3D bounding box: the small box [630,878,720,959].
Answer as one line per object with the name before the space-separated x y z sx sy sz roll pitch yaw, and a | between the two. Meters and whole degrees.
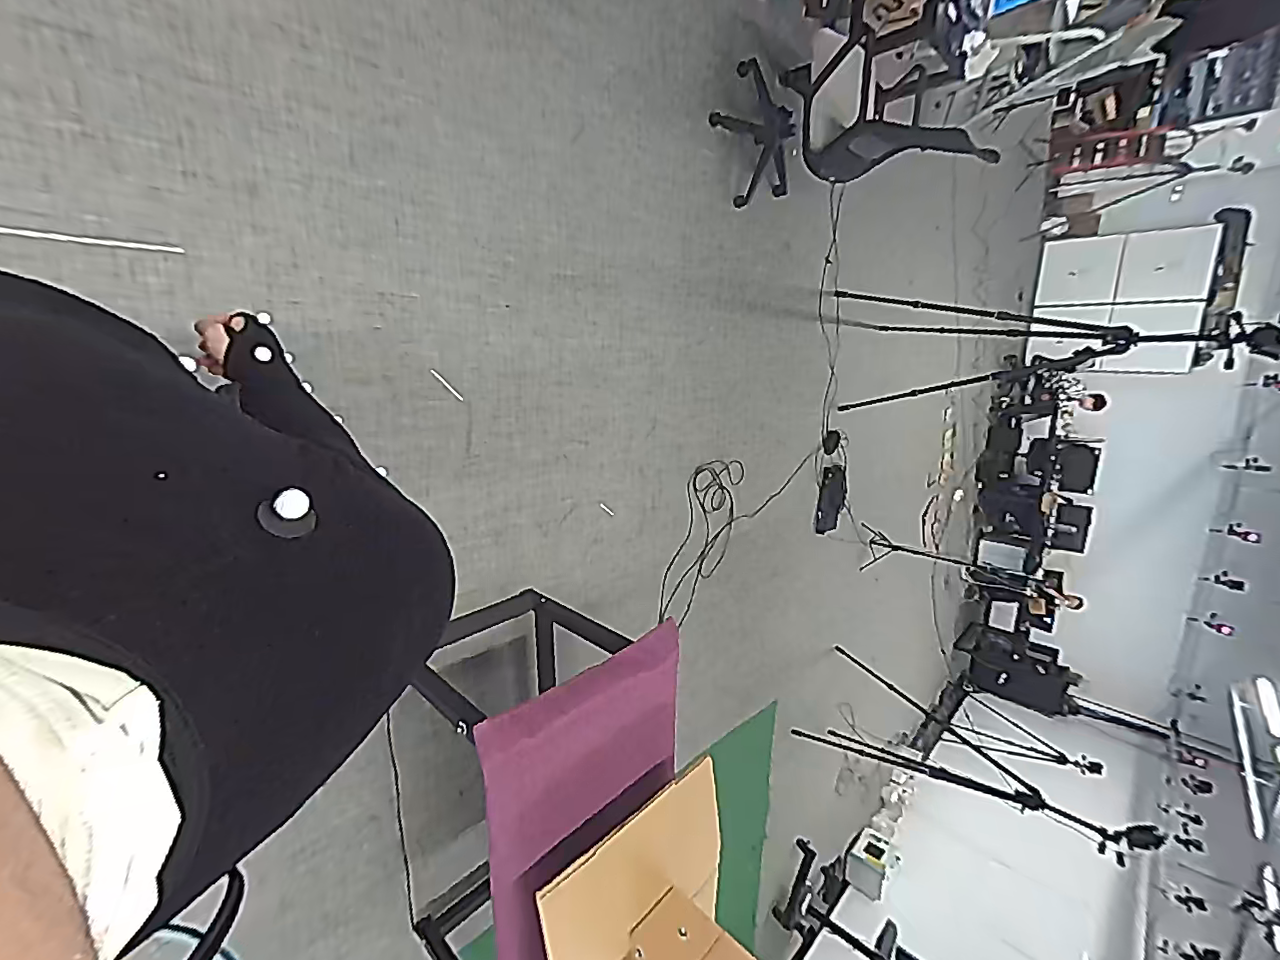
small box | 0.088 1.206 1.408 0.179 0.176 0.168 -17 115 -44
